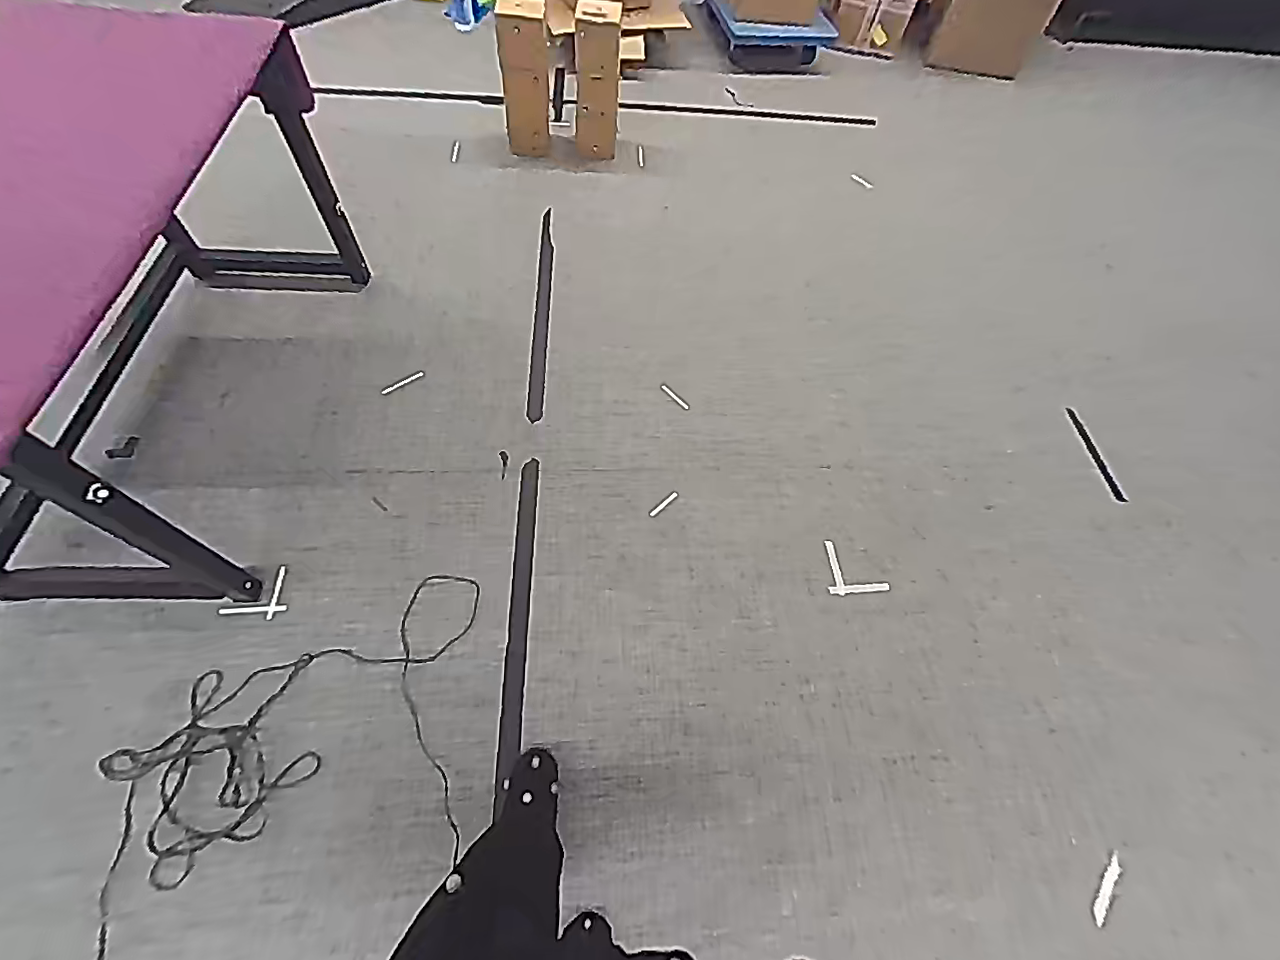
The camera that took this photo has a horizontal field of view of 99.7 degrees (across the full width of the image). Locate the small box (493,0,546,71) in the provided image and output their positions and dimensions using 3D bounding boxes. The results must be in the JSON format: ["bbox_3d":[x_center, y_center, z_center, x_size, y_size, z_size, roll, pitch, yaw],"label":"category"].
[{"bbox_3d":[-0.447,-1.672,2.028,0.179,0.176,0.168,1,61,-8],"label":"small box"}]

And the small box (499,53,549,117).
[{"bbox_3d":[-0.461,-1.590,2.170,0.179,0.176,0.168,1,61,-7],"label":"small box"}]

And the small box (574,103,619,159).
[{"bbox_3d":[-0.190,-1.527,2.350,0.179,0.176,0.168,5,61,-4],"label":"small box"}]

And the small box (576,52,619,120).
[{"bbox_3d":[-0.172,-1.603,2.204,0.168,0.176,0.179,3,60,-4],"label":"small box"}]

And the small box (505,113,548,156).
[{"bbox_3d":[-0.480,-1.517,2.315,0.168,0.176,0.179,0,60,-7],"label":"small box"}]
